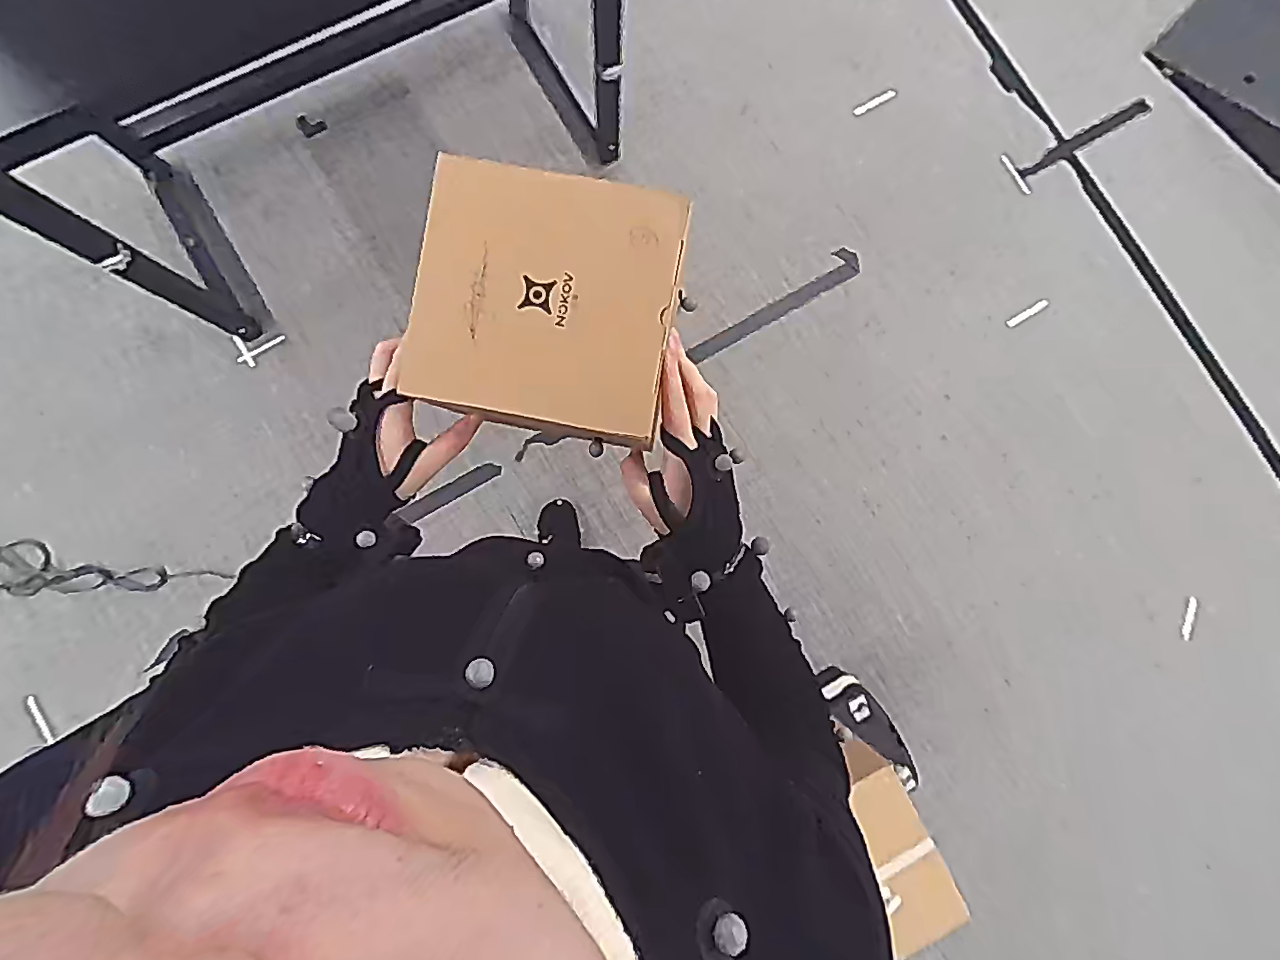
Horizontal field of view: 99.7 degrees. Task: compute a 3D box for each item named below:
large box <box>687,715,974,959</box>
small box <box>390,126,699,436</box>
[{"bbox_3d":[0.359,0.766,1.123,0.408,0.320,0.320,-26,87,-6],"label":"large box"},{"bbox_3d":[-0.059,-0.132,0.424,0.179,0.176,0.168,11,90,3],"label":"small box"}]
